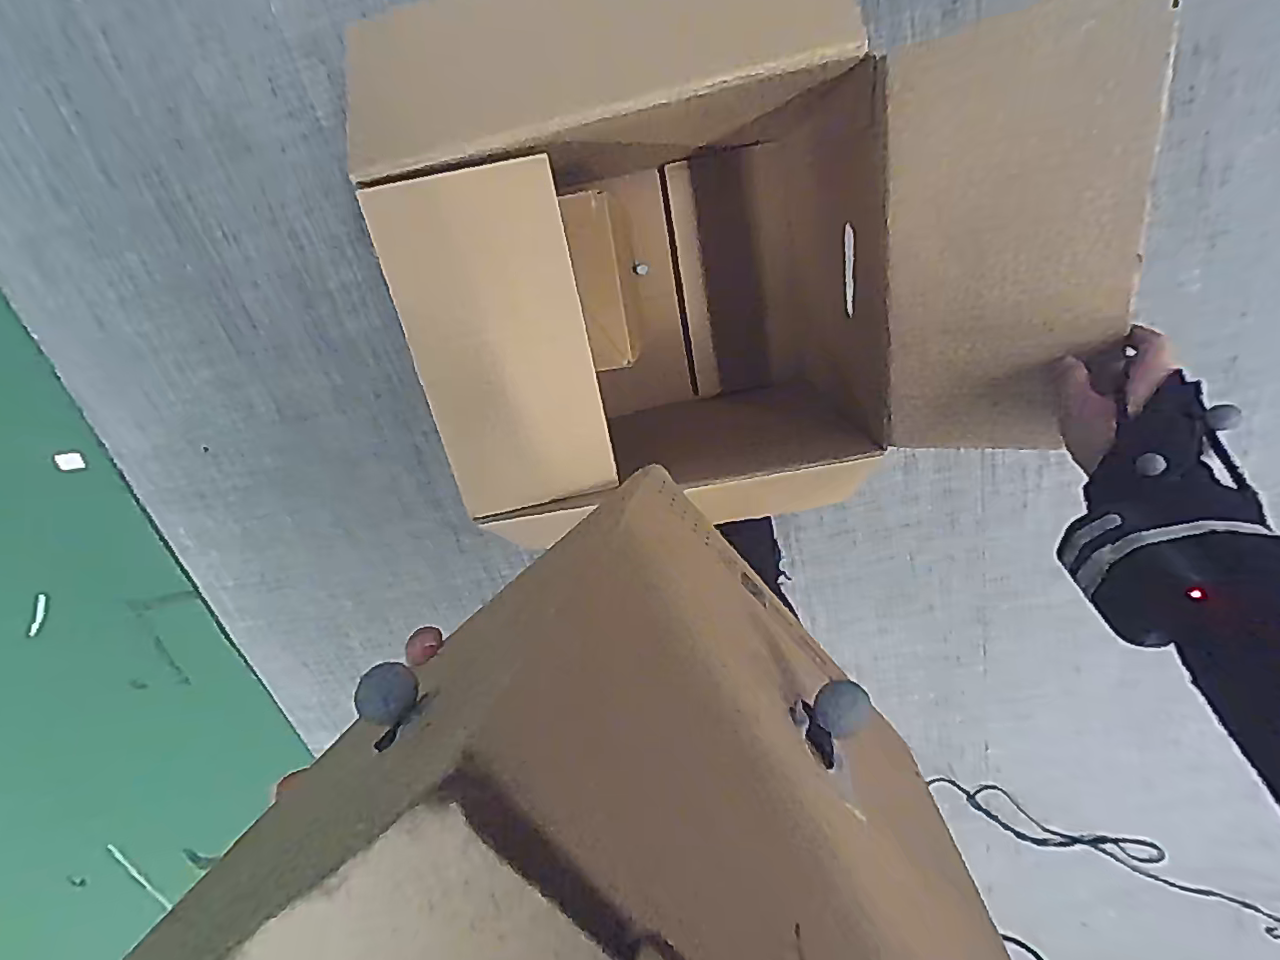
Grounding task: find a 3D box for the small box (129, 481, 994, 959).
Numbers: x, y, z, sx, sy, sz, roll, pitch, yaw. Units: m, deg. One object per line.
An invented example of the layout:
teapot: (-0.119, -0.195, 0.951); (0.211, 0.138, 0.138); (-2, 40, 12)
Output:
small box: (-0.016, 0.123, 0.165); (0.179, 0.176, 0.168); (-41, 95, 14)
